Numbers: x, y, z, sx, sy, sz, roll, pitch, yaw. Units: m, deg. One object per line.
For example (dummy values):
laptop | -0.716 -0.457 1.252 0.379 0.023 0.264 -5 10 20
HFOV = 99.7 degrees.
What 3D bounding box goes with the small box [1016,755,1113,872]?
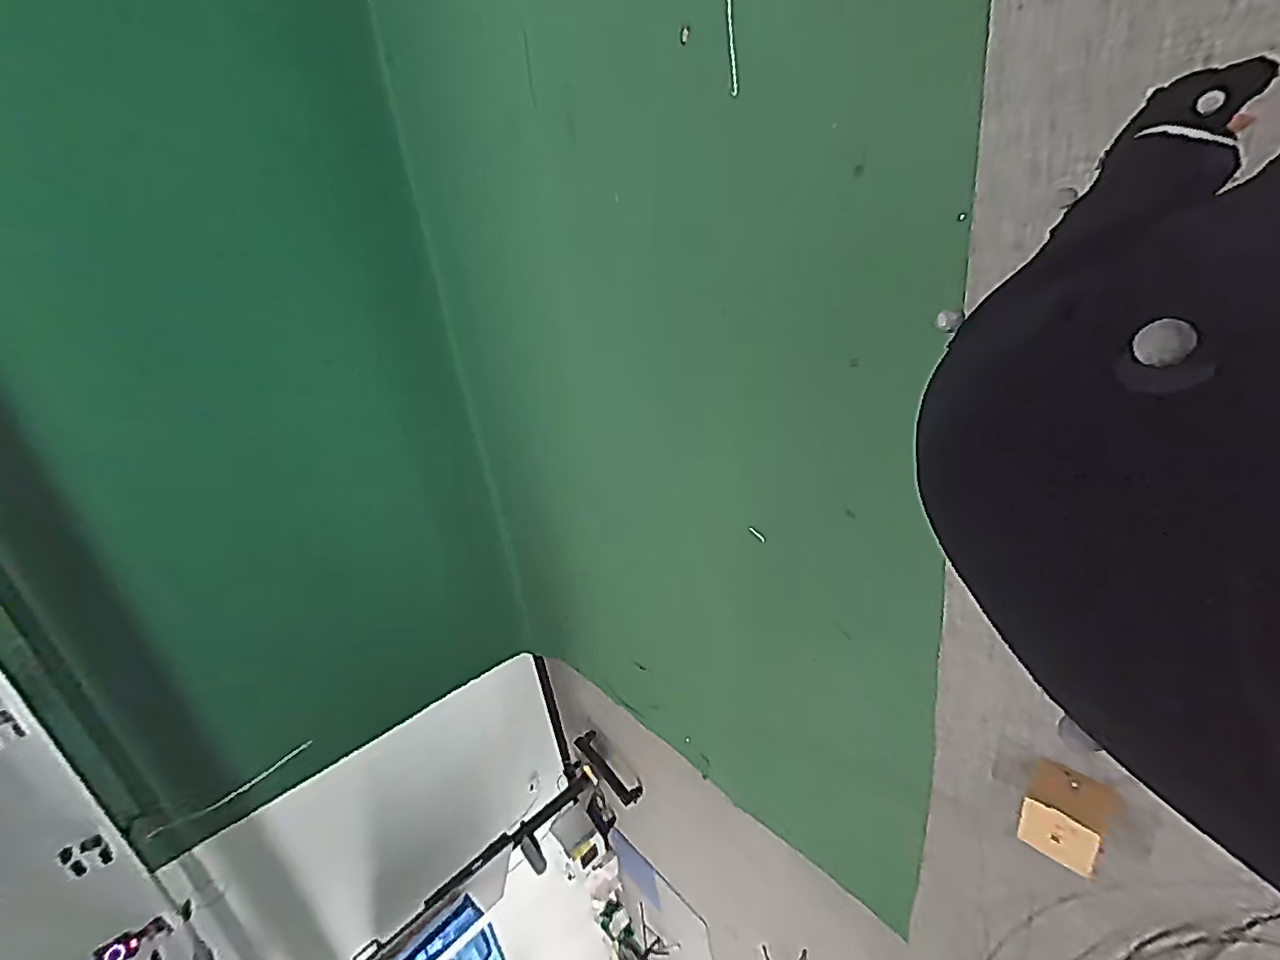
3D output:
small box | 1.175 0.914 1.497 0.168 0.176 0.179 18 123 46
